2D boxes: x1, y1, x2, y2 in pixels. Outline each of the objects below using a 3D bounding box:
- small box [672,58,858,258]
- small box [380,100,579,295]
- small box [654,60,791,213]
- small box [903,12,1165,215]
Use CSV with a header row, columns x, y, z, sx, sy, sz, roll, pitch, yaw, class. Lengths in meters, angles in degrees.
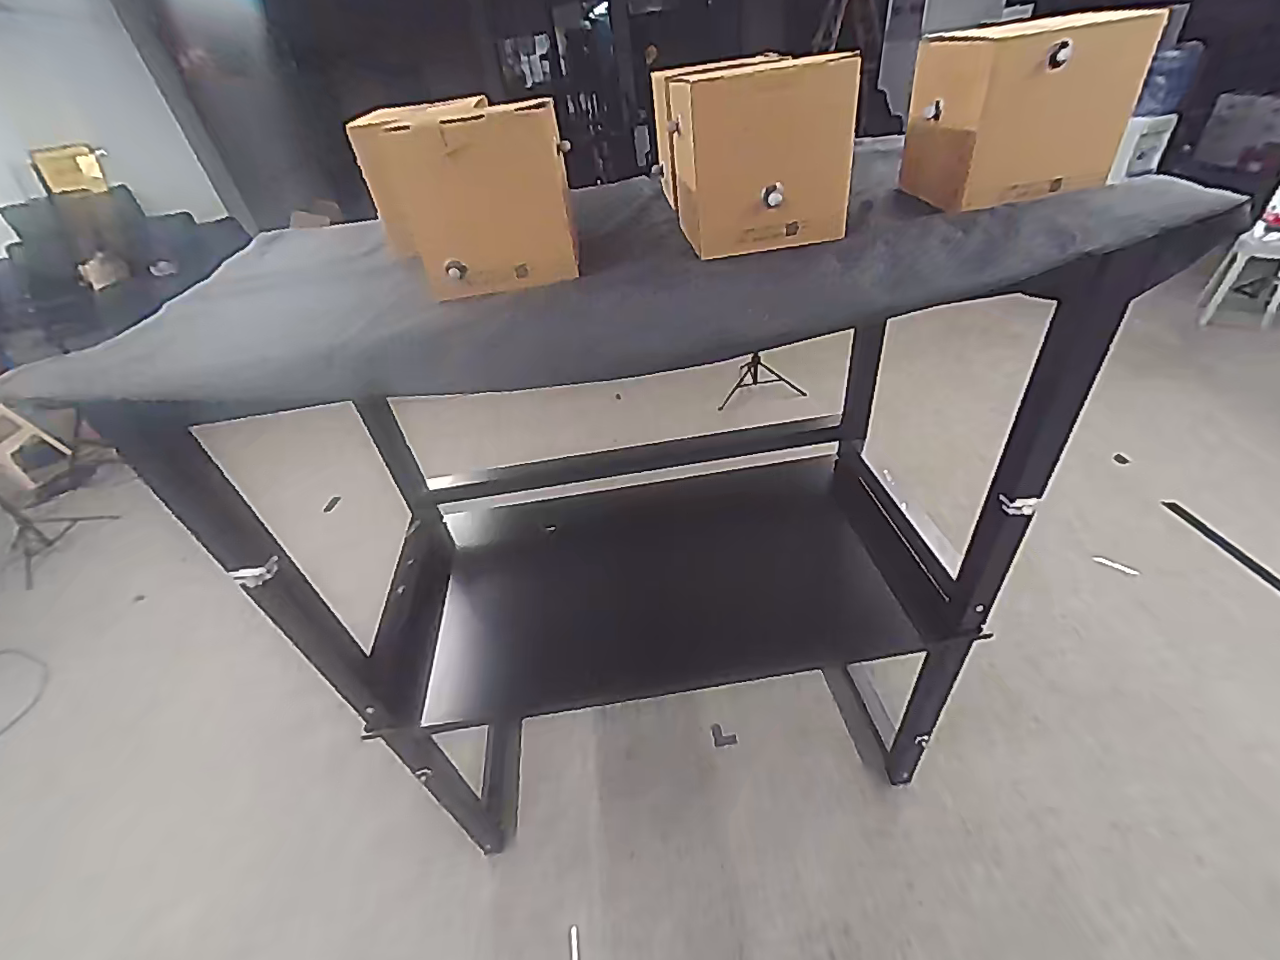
x,y,z,sx,sy,sz,roll,pitch,yaw,class
0.132,-0.371,0.629,0.168,0.176,0.179,-8,37,1,small box
-0.167,-0.327,0.633,0.168,0.176,0.179,-8,37,0,small box
0.119,-0.525,0.827,0.179,0.176,0.168,-8,38,1,small box
0.435,-0.427,0.641,0.168,0.176,0.179,-8,38,3,small box
